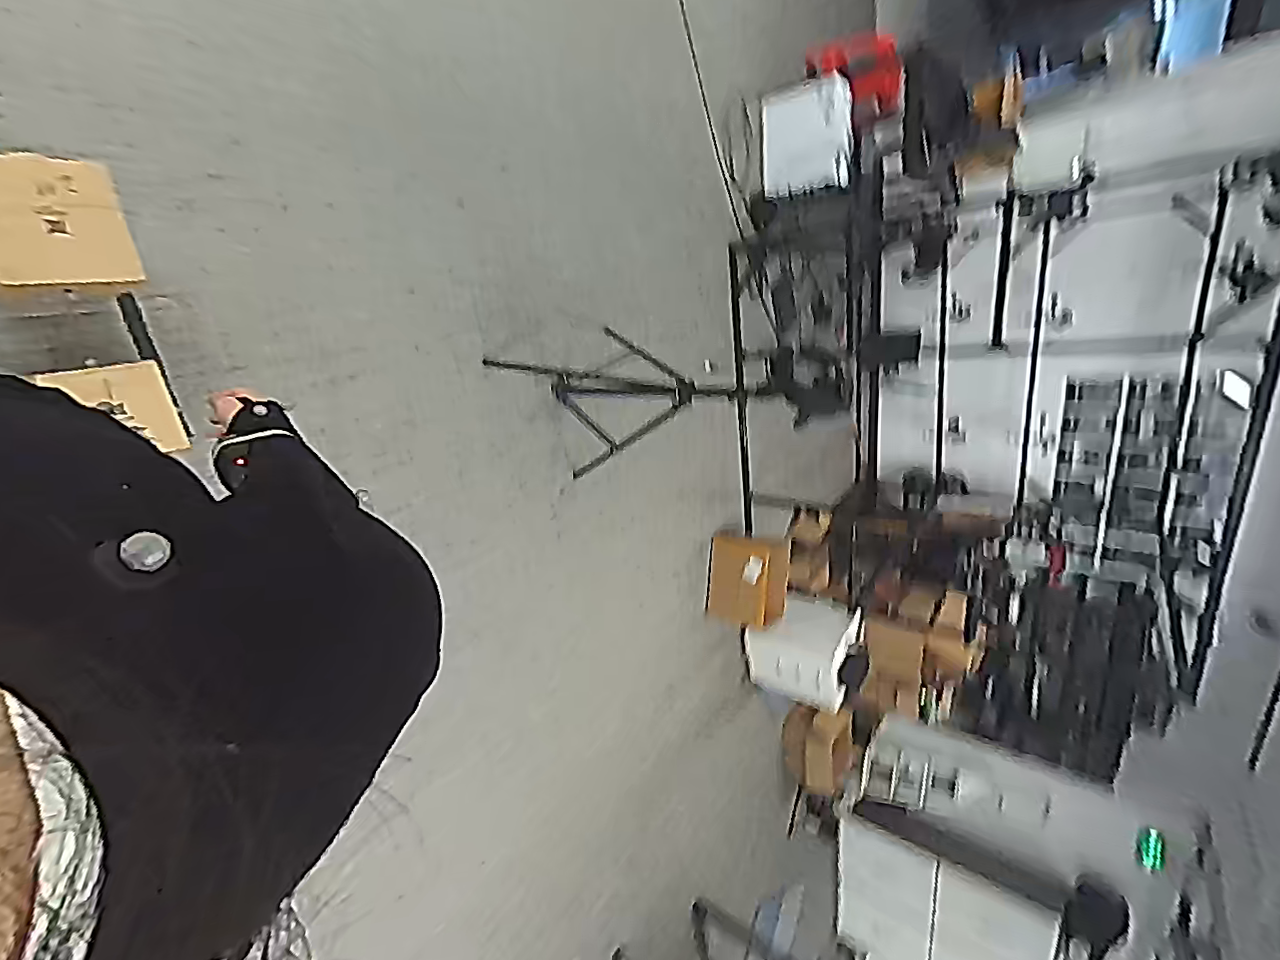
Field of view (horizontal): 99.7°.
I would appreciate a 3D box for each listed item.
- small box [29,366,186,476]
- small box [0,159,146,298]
[{"bbox_3d":[-1.020,-0.120,1.039,0.168,0.176,0.179,-26,115,-46],"label":"small box"},{"bbox_3d":[-0.924,-0.382,0.847,0.168,0.176,0.179,-26,116,-48],"label":"small box"}]
